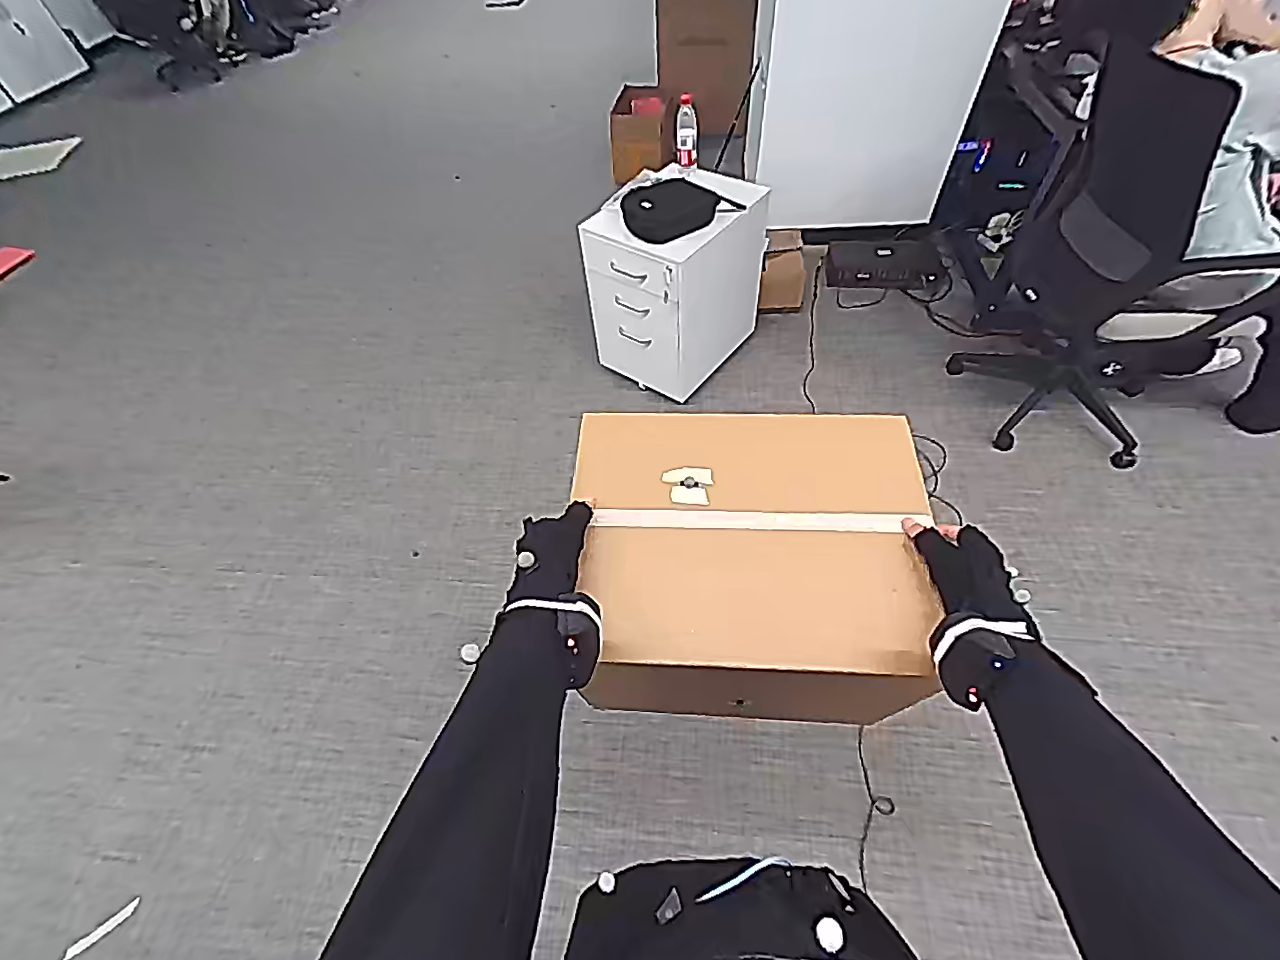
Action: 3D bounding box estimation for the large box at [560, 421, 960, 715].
[{"bbox_3d":[0.133,0.134,0.741,0.408,0.320,0.320,1,58,5],"label":"large box"}]
